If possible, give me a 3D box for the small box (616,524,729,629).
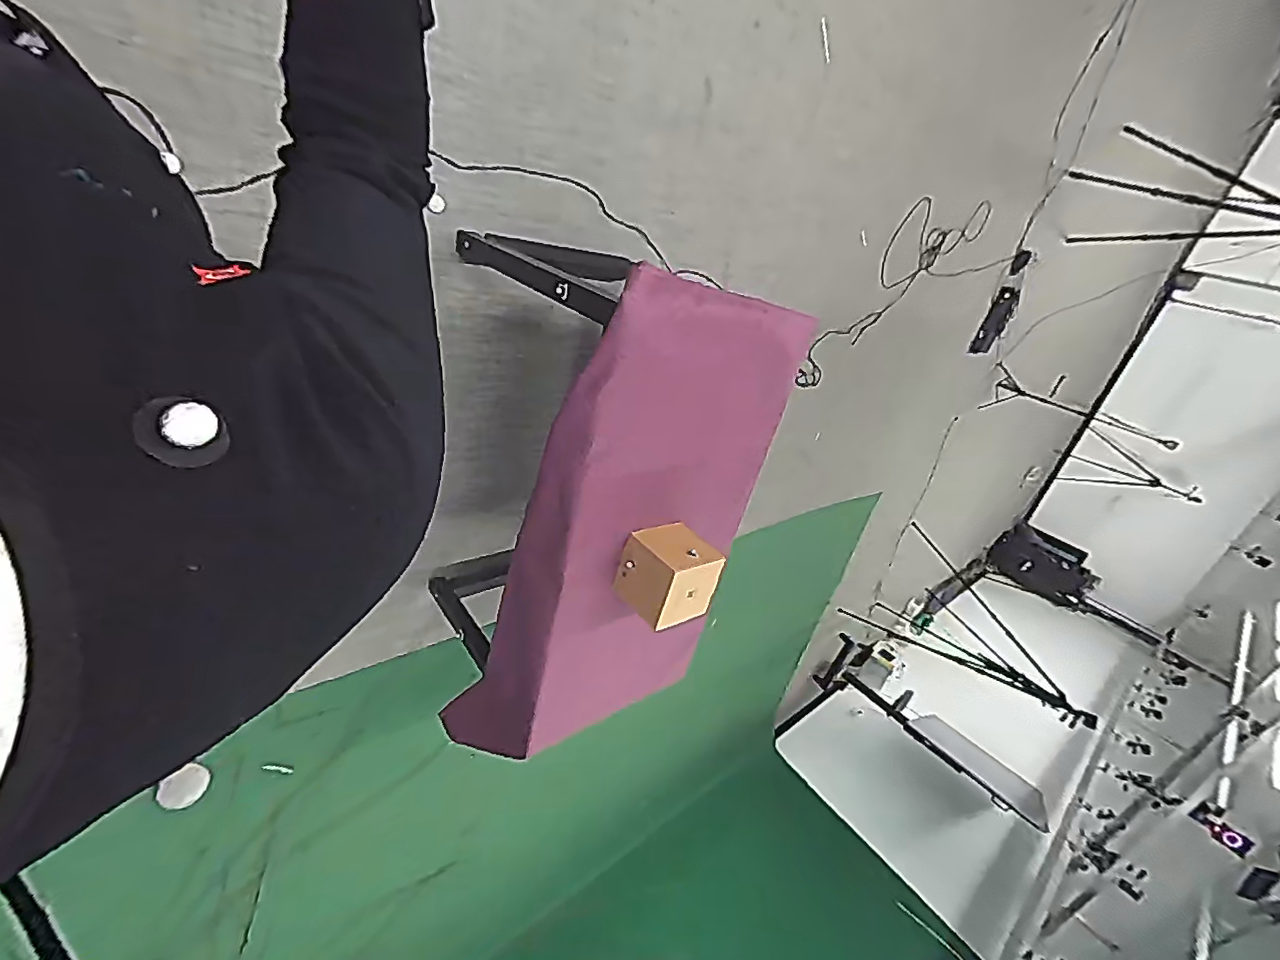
[{"bbox_3d":[0.073,0.219,1.281,0.179,0.176,0.168,-5,121,-42],"label":"small box"}]
